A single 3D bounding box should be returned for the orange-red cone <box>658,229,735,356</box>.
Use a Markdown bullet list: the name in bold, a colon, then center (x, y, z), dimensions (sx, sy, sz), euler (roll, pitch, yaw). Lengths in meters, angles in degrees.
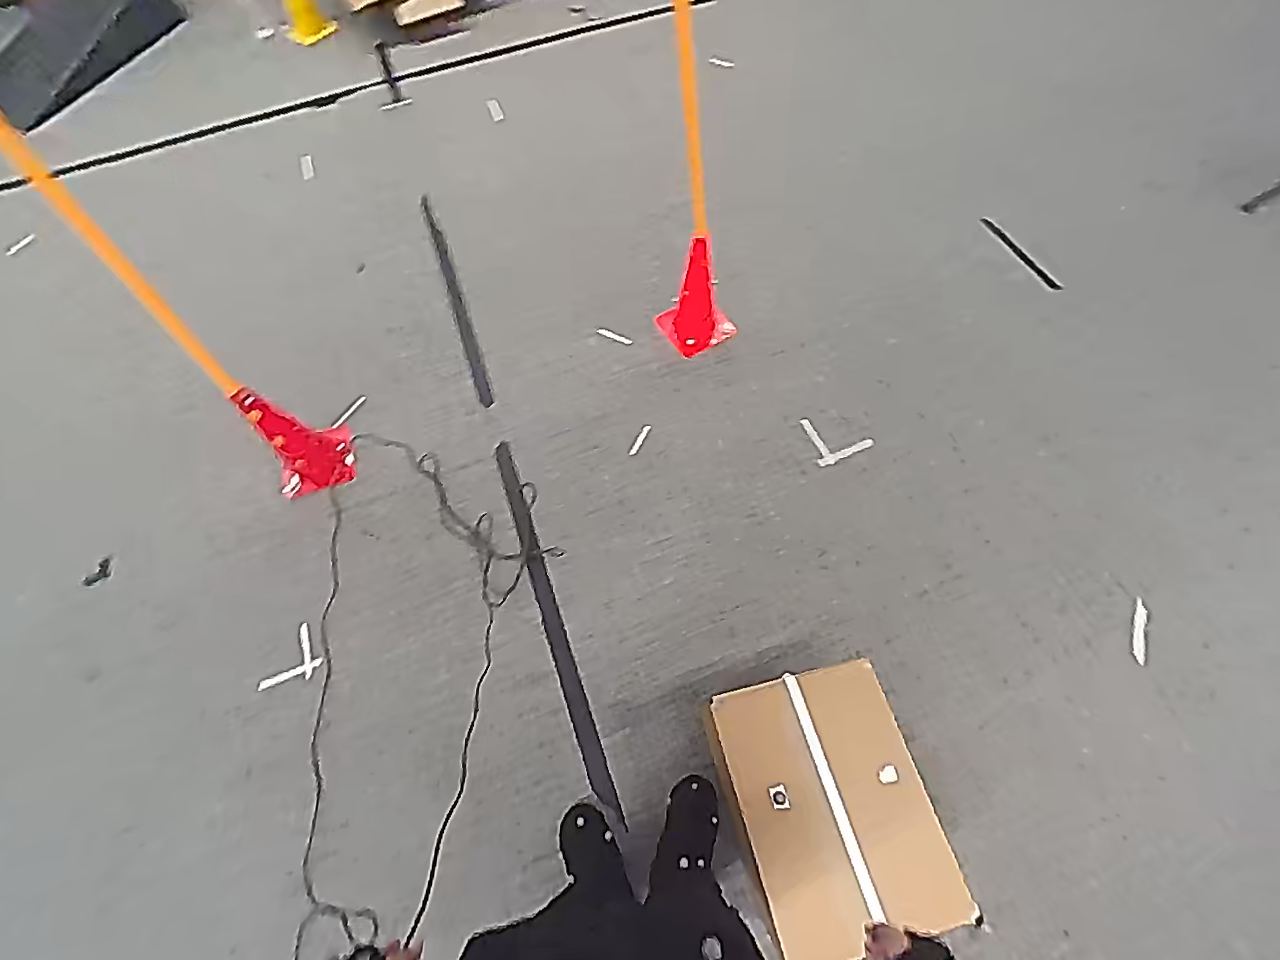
- **orange-red cone**: center (0.176, -0.571, 1.576), dimensions (0.199, 0.360, 0.198), euler (-28, 67, -12)
